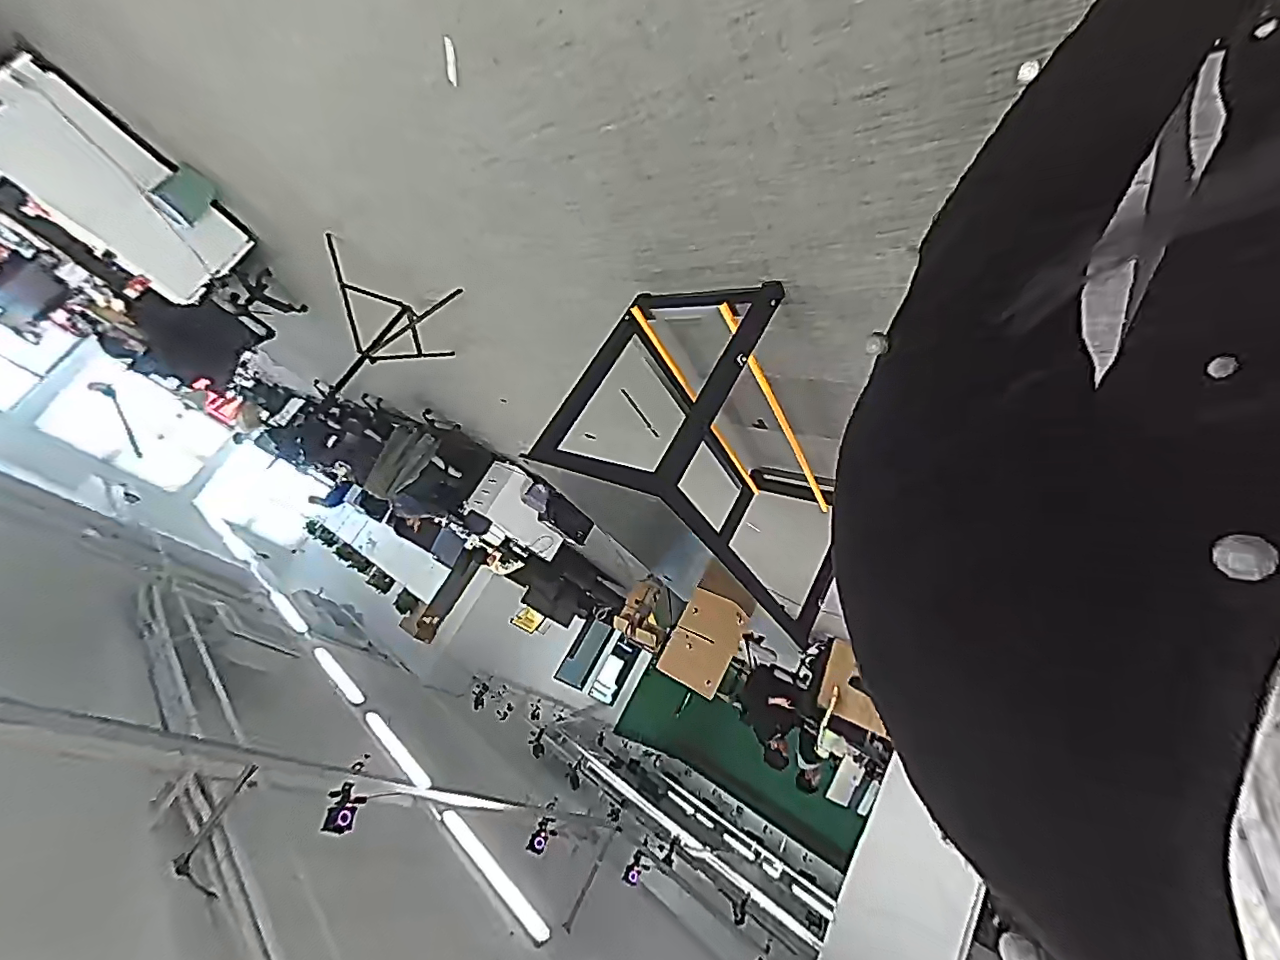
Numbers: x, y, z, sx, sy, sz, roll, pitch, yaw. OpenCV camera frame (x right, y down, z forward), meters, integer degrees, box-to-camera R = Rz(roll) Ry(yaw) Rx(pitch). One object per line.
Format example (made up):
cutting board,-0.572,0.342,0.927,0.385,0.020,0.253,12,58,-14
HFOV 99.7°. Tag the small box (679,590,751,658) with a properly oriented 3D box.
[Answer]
small box,0.282,0.527,2.009,0.179,0.176,0.168,14,157,42

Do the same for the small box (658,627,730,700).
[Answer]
small box,0.202,0.662,1.960,0.168,0.176,0.179,14,157,44
